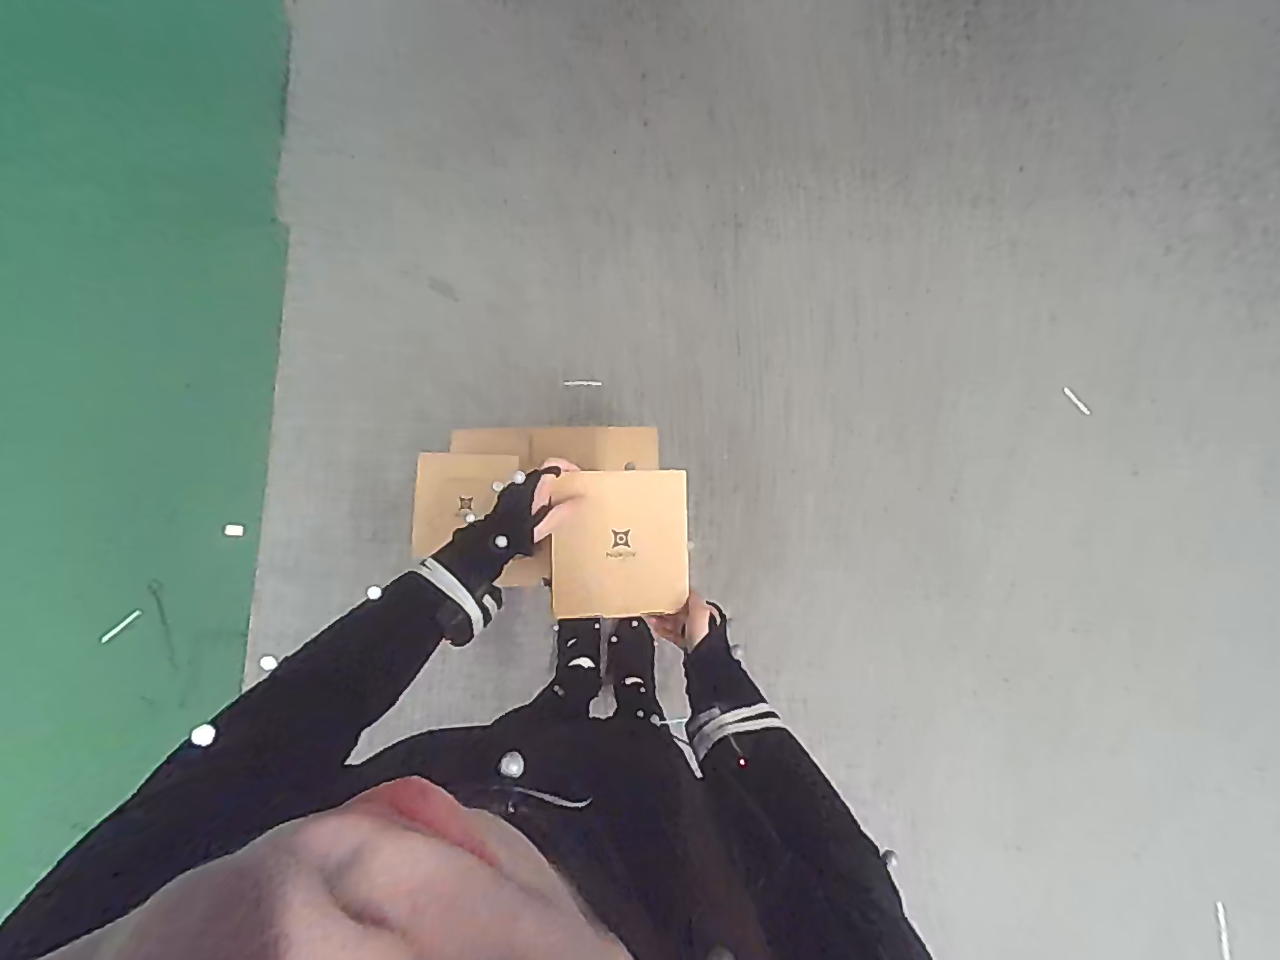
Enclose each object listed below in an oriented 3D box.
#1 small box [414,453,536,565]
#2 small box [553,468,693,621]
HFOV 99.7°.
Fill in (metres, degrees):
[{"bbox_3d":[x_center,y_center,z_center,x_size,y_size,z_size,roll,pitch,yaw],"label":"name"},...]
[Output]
[{"bbox_3d":[-0.279,0.055,0.951,0.168,0.176,0.179,2,83,-2],"label":"small box"},{"bbox_3d":[-0.031,0.079,0.712,0.168,0.176,0.179,-1,87,-8],"label":"small box"}]
